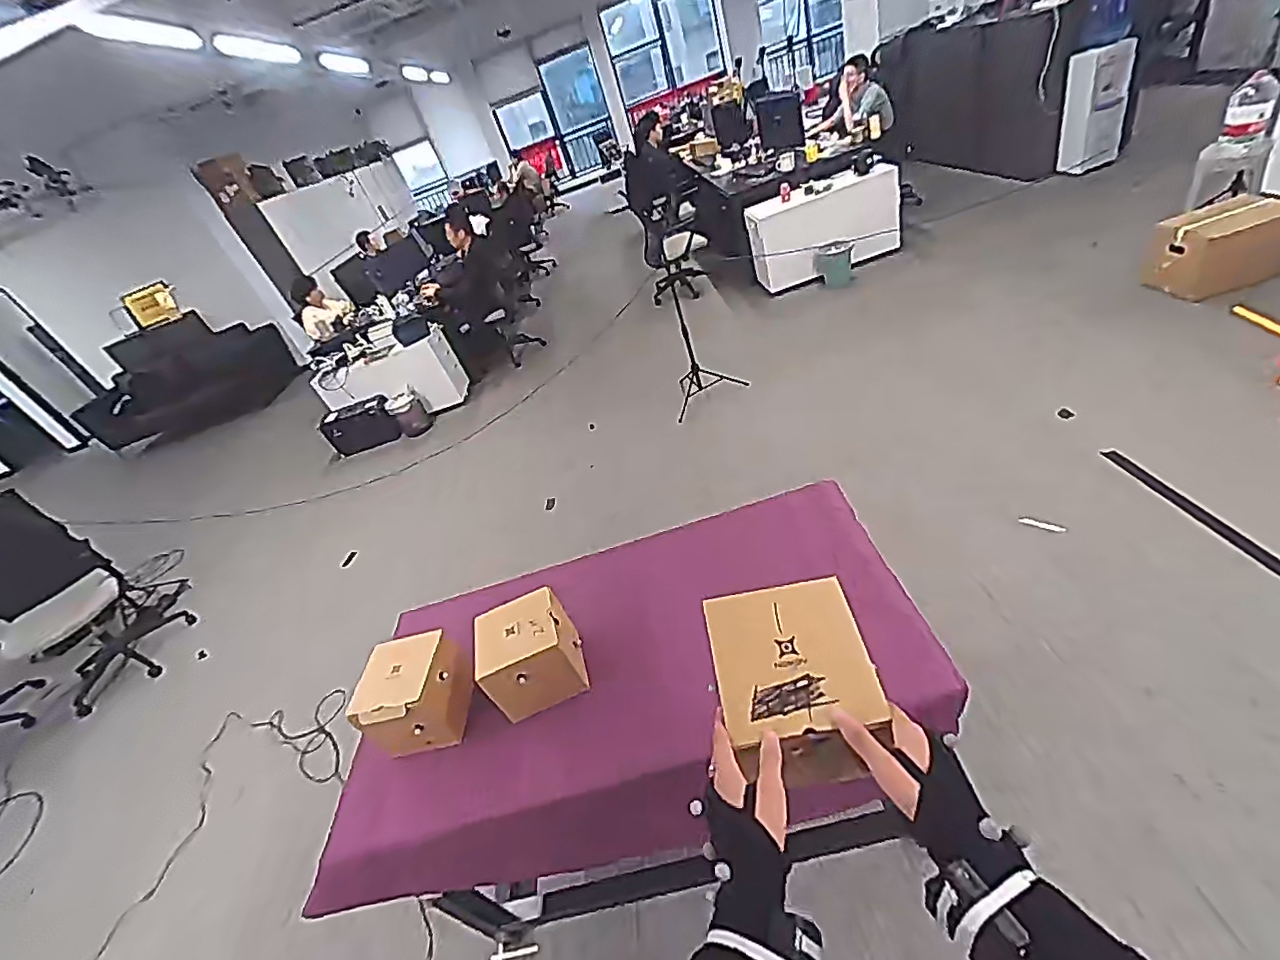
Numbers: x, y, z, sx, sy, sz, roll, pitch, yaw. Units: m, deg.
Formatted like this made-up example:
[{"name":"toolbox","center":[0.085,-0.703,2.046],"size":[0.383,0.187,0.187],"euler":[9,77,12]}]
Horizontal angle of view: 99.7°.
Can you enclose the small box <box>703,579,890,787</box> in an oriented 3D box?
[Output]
[{"name":"small box","center":[0.179,0.249,0.649],"size":[0.168,0.176,0.179],"euler":[-11,43,5]}]

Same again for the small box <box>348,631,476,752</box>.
[{"name":"small box","center":[-0.474,0.458,1.157],"size":[0.168,0.176,0.179],"euler":[-15,35,9]}]

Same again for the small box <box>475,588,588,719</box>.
[{"name":"small box","center":[-0.229,0.369,1.141],"size":[0.179,0.176,0.168],"euler":[-23,36,-2]}]
